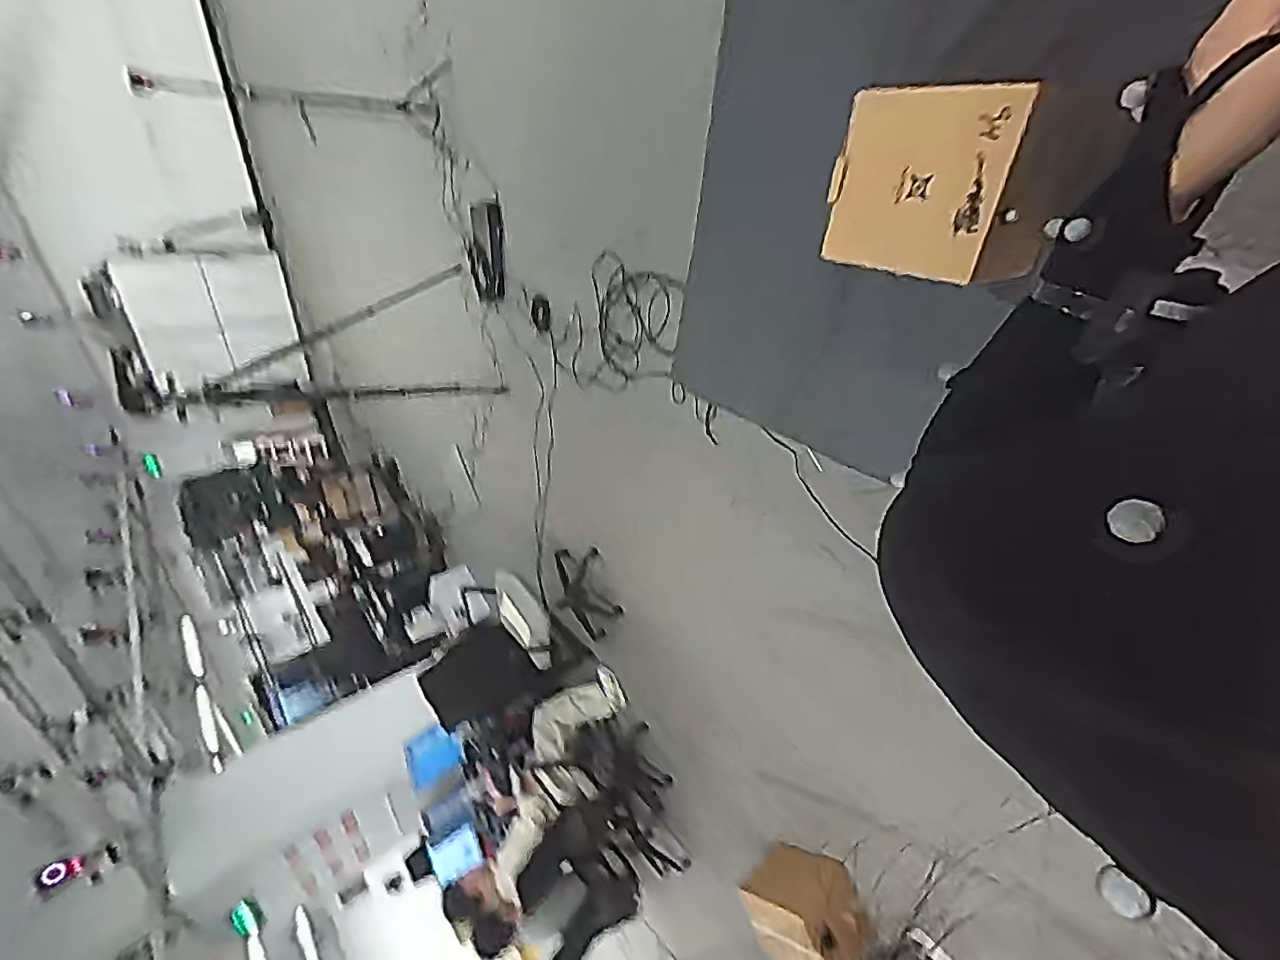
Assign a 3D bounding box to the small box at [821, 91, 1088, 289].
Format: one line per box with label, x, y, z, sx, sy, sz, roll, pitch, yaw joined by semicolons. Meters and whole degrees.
small box;0.338;-0.318;0.597;0.179;0.176;0.168;34;133;40
